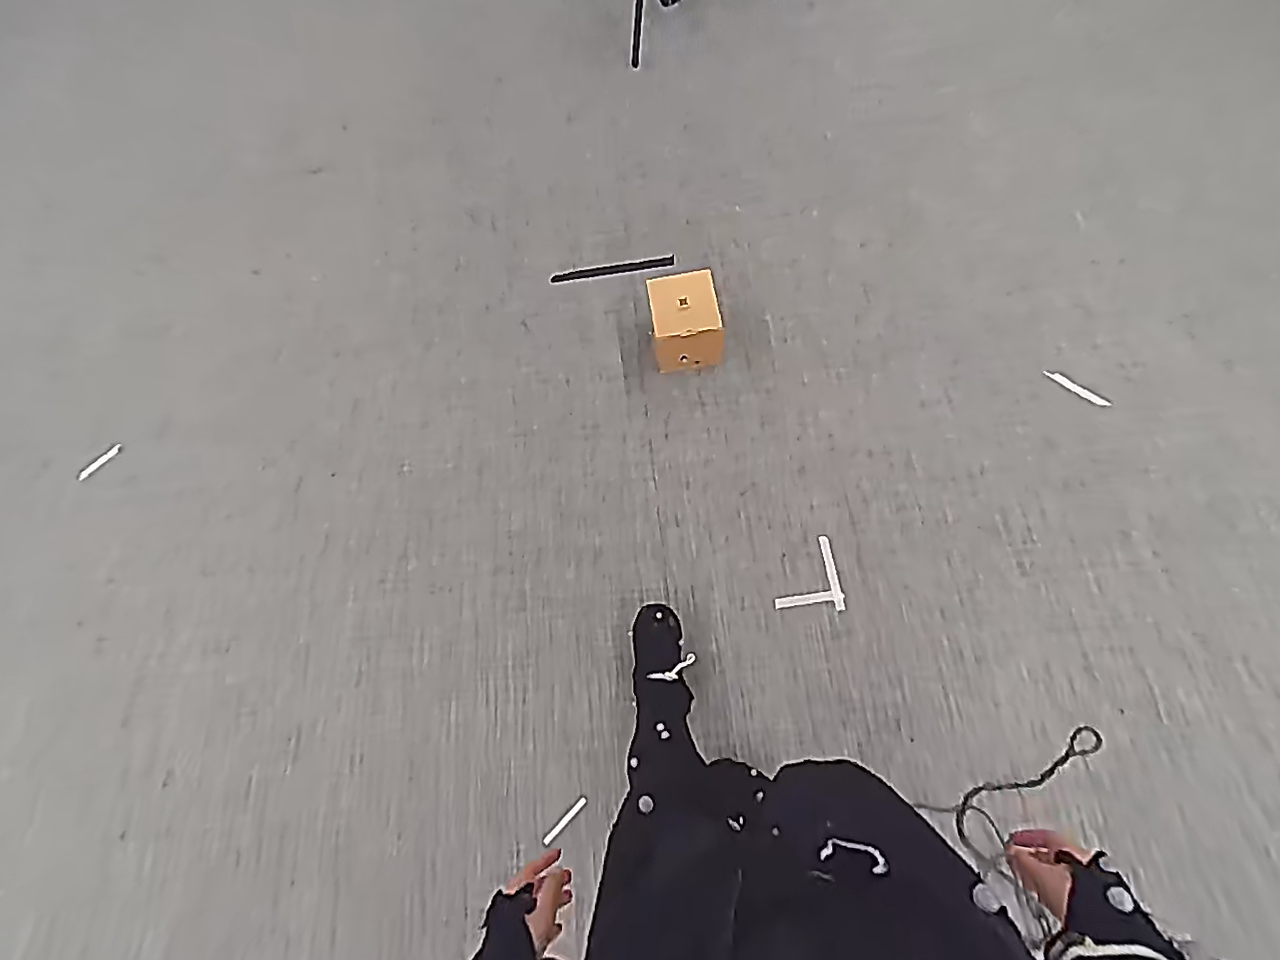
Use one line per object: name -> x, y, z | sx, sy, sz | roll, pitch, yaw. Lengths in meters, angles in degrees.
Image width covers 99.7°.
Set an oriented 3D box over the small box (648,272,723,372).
small box -> 0.114, -0.406, 1.405 | 0.168, 0.176, 0.179 | -9, 72, 1
